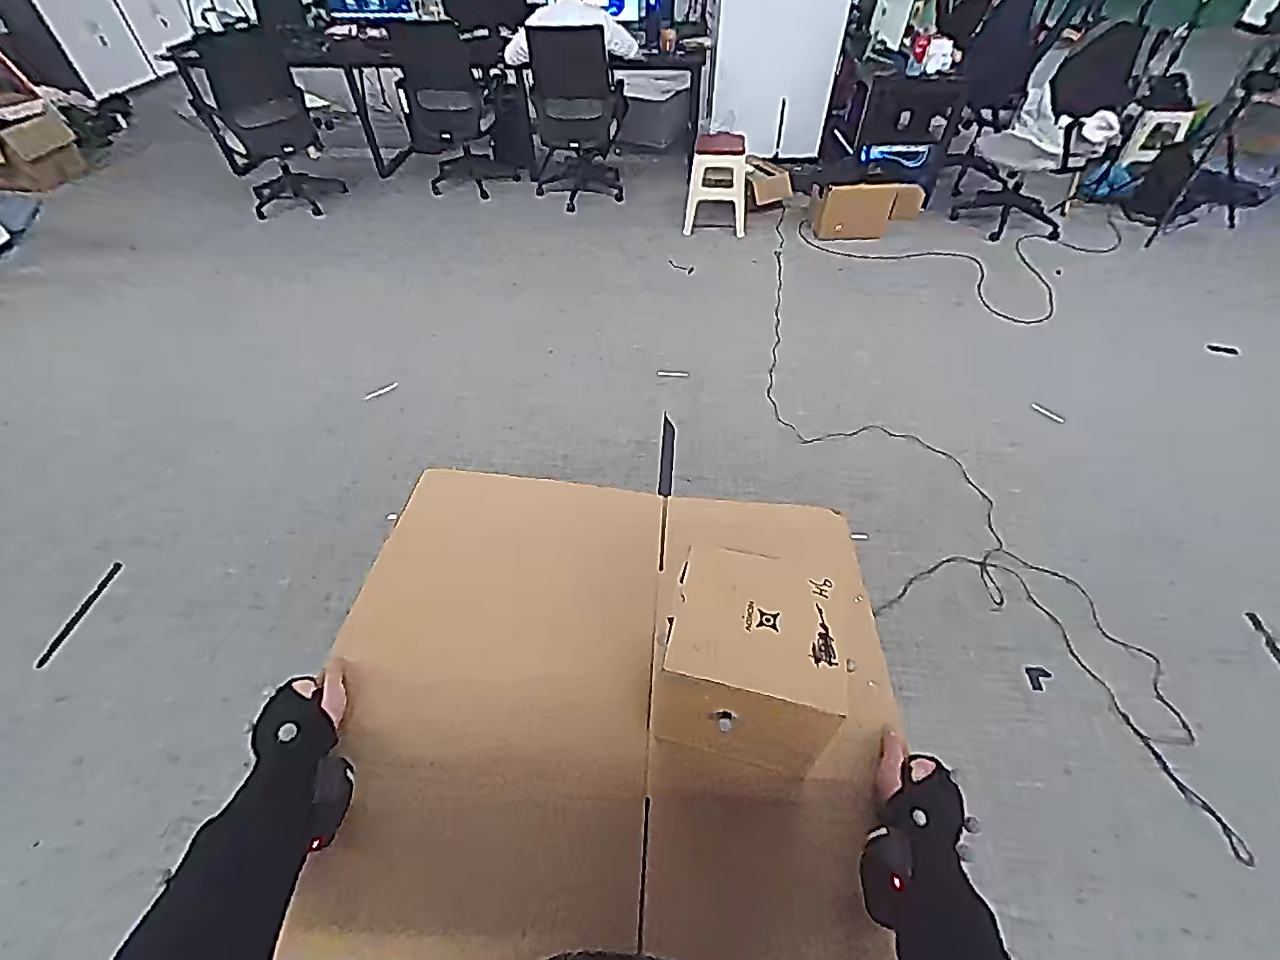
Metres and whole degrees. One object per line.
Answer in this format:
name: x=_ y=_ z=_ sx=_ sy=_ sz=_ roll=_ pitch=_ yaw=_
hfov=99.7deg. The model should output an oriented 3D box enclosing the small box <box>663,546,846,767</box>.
small box: x=0.126 y=0.203 z=0.623 sx=0.179 sy=0.176 sz=0.168 roll=10 pitch=45 yaw=10
